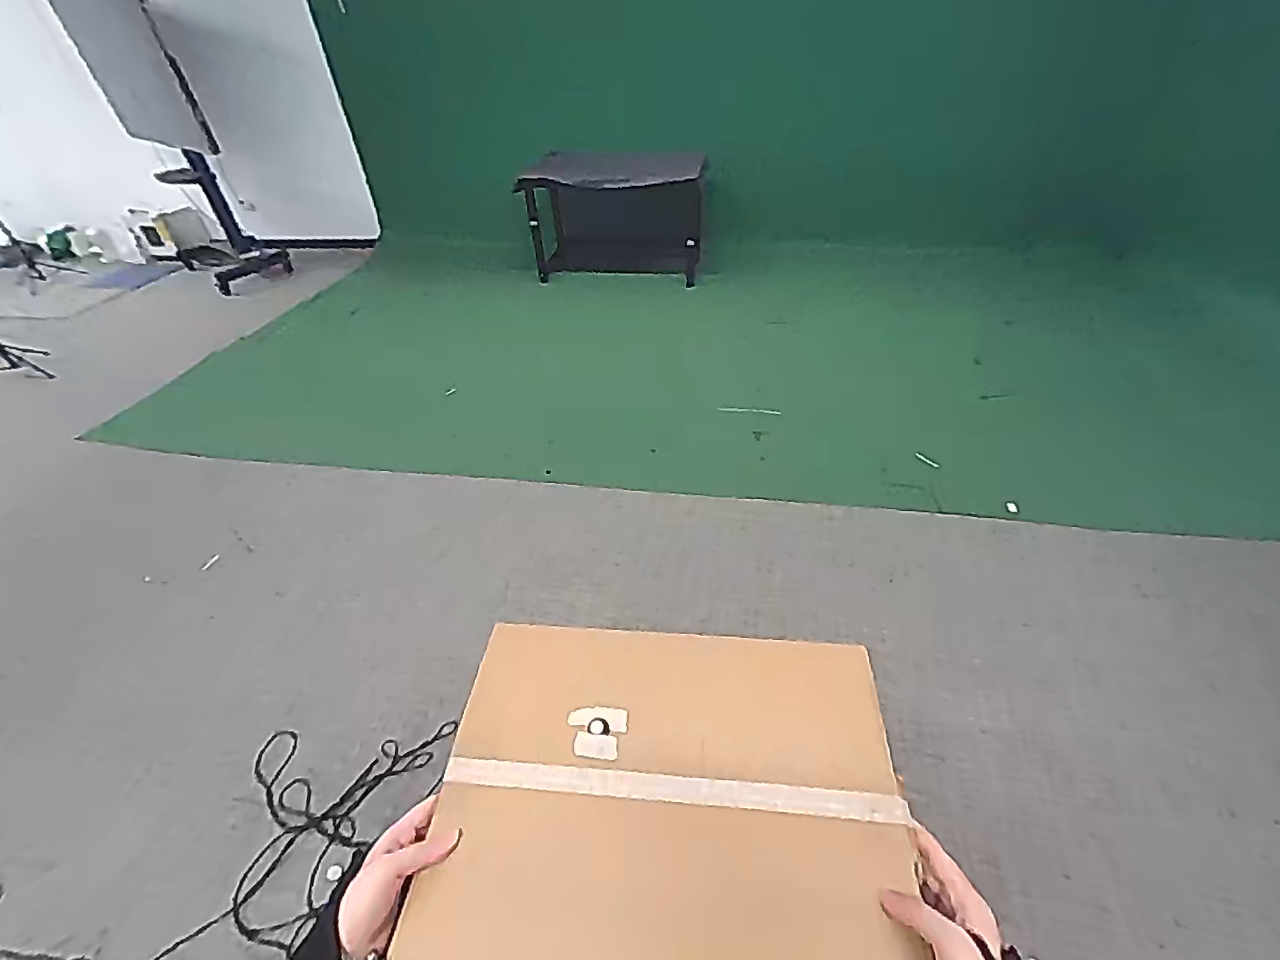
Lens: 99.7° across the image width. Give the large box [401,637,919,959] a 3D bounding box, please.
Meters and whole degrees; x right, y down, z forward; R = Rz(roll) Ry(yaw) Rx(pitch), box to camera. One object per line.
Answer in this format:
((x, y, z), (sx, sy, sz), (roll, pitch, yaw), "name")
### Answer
((0.034, 0.392, 0.597), (0.408, 0.320, 0.320), (0, 44, 8), "large box")
